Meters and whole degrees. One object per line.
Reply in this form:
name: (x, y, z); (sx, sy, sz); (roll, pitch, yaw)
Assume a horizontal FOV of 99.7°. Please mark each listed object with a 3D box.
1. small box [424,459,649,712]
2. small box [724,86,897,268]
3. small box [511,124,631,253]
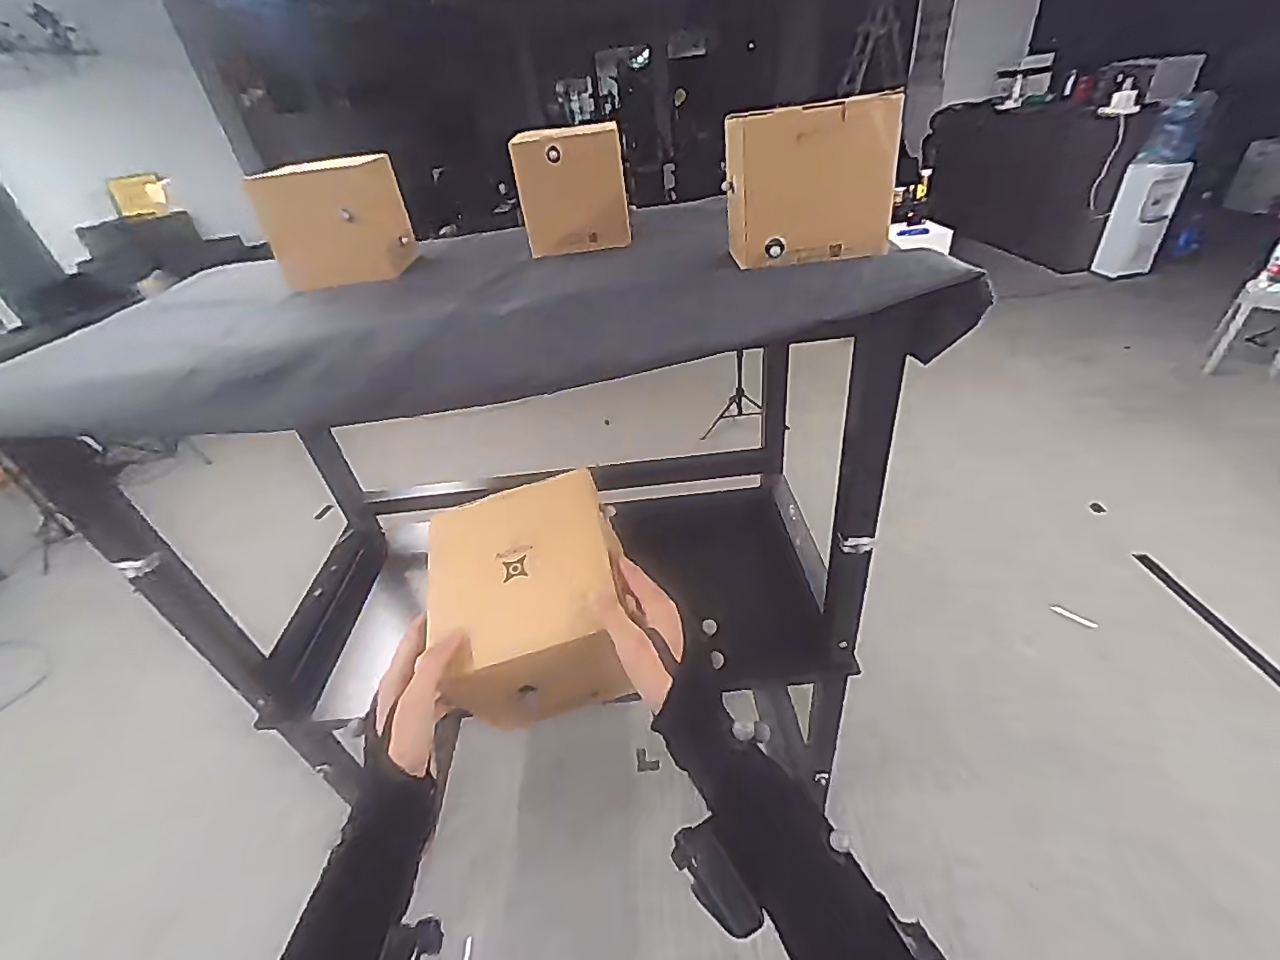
small box: (-0.097, 0.114, 0.543); (0.168, 0.176, 0.179); (-17, 50, -1)
small box: (0.200, -0.371, 0.676); (0.168, 0.176, 0.179); (-5, 32, 5)
small box: (-0.107, -0.495, 0.919); (0.168, 0.176, 0.179); (-7, 35, 2)
